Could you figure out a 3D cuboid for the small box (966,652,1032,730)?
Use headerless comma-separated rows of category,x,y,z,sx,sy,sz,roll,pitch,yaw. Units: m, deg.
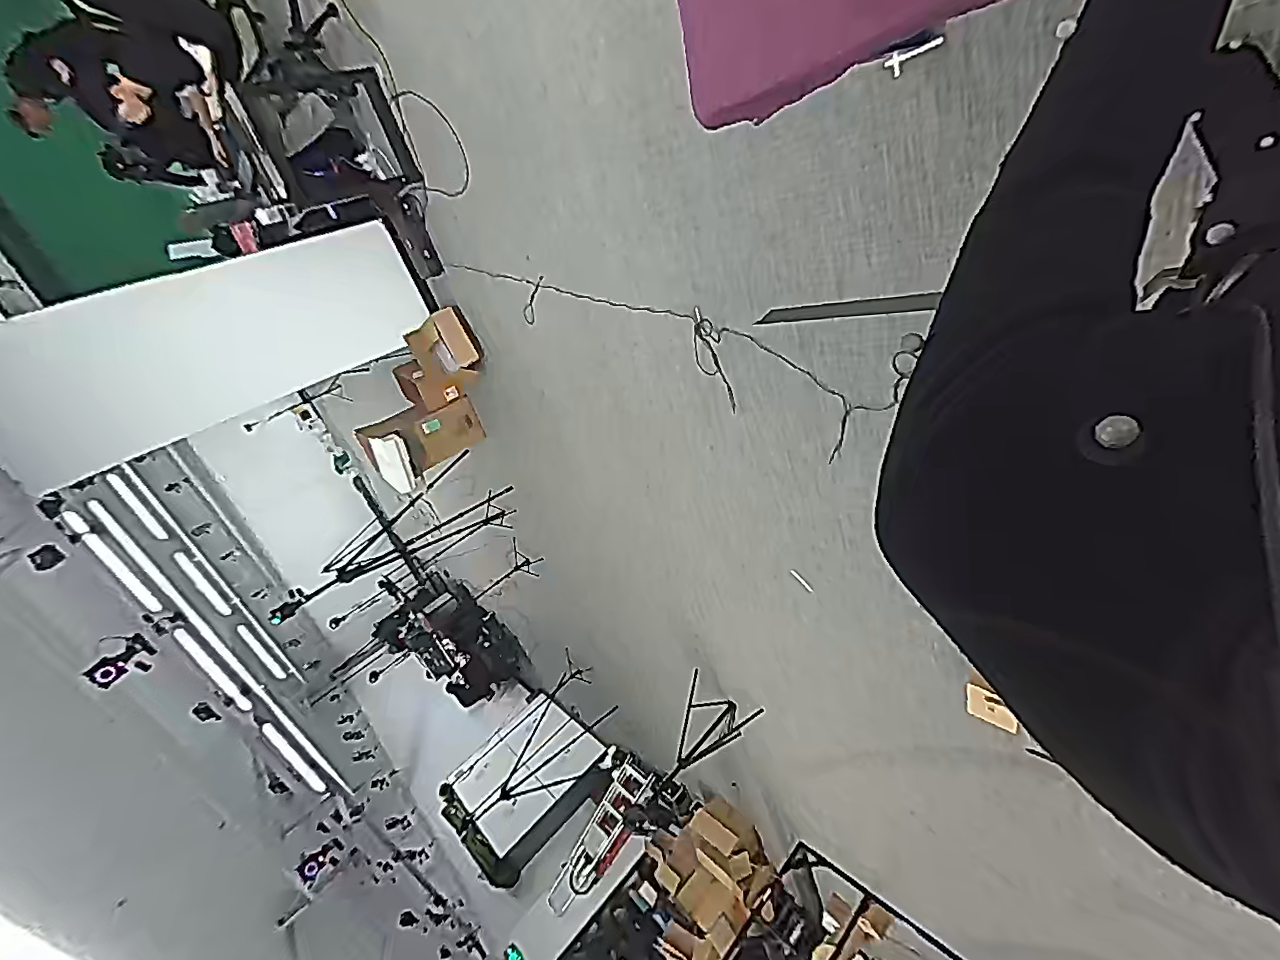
small box,1.336,0.777,2.011,0.168,0.176,0.179,17,135,47
